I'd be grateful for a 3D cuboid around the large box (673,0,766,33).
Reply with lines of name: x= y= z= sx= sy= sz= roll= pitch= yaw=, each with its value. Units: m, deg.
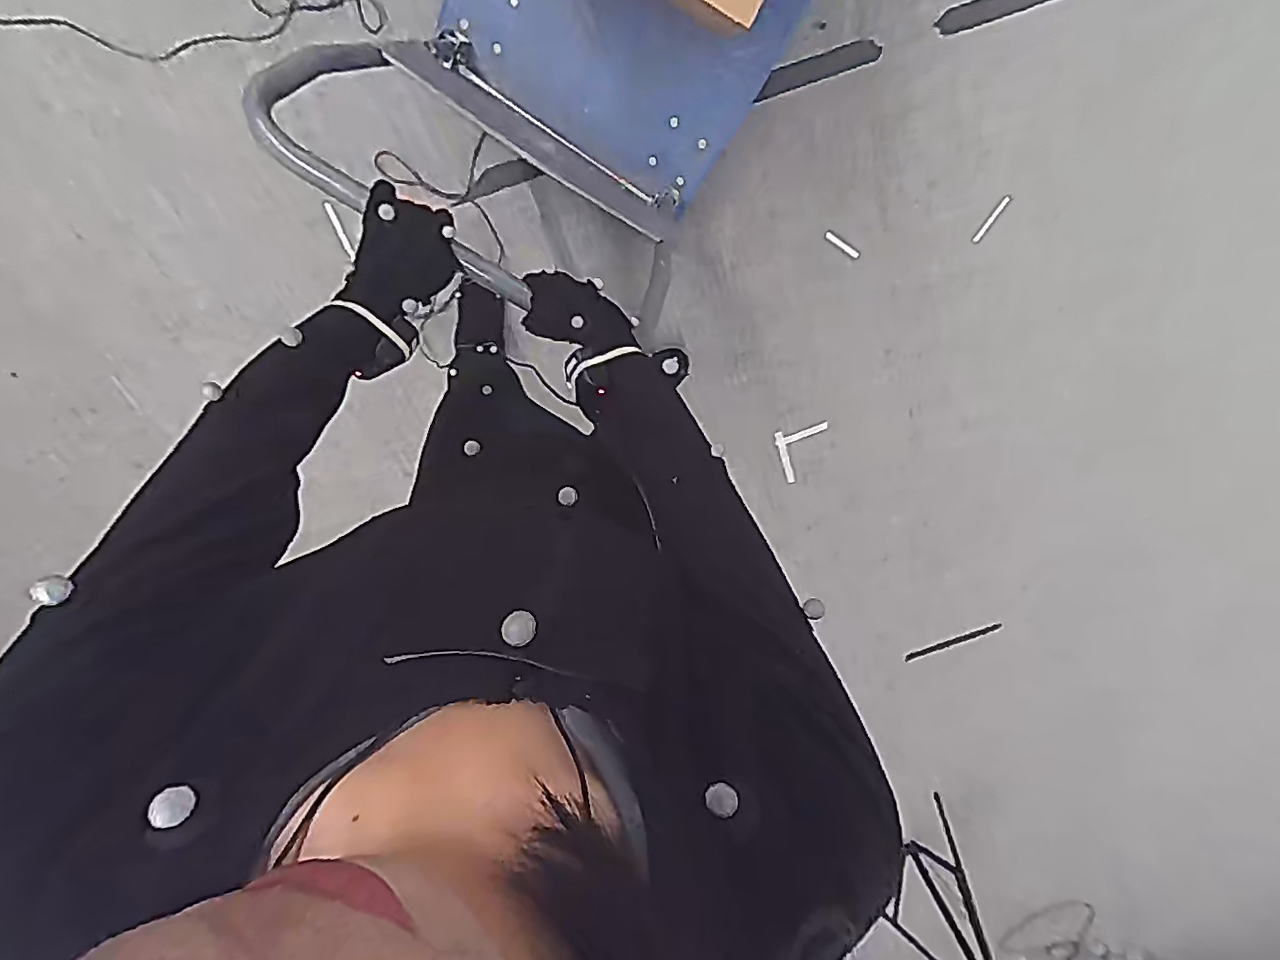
large box: x=0.049 y=-0.922 z=0.765 sx=0.408 sy=0.320 sz=0.320 roll=21 pitch=125 yaw=-13
